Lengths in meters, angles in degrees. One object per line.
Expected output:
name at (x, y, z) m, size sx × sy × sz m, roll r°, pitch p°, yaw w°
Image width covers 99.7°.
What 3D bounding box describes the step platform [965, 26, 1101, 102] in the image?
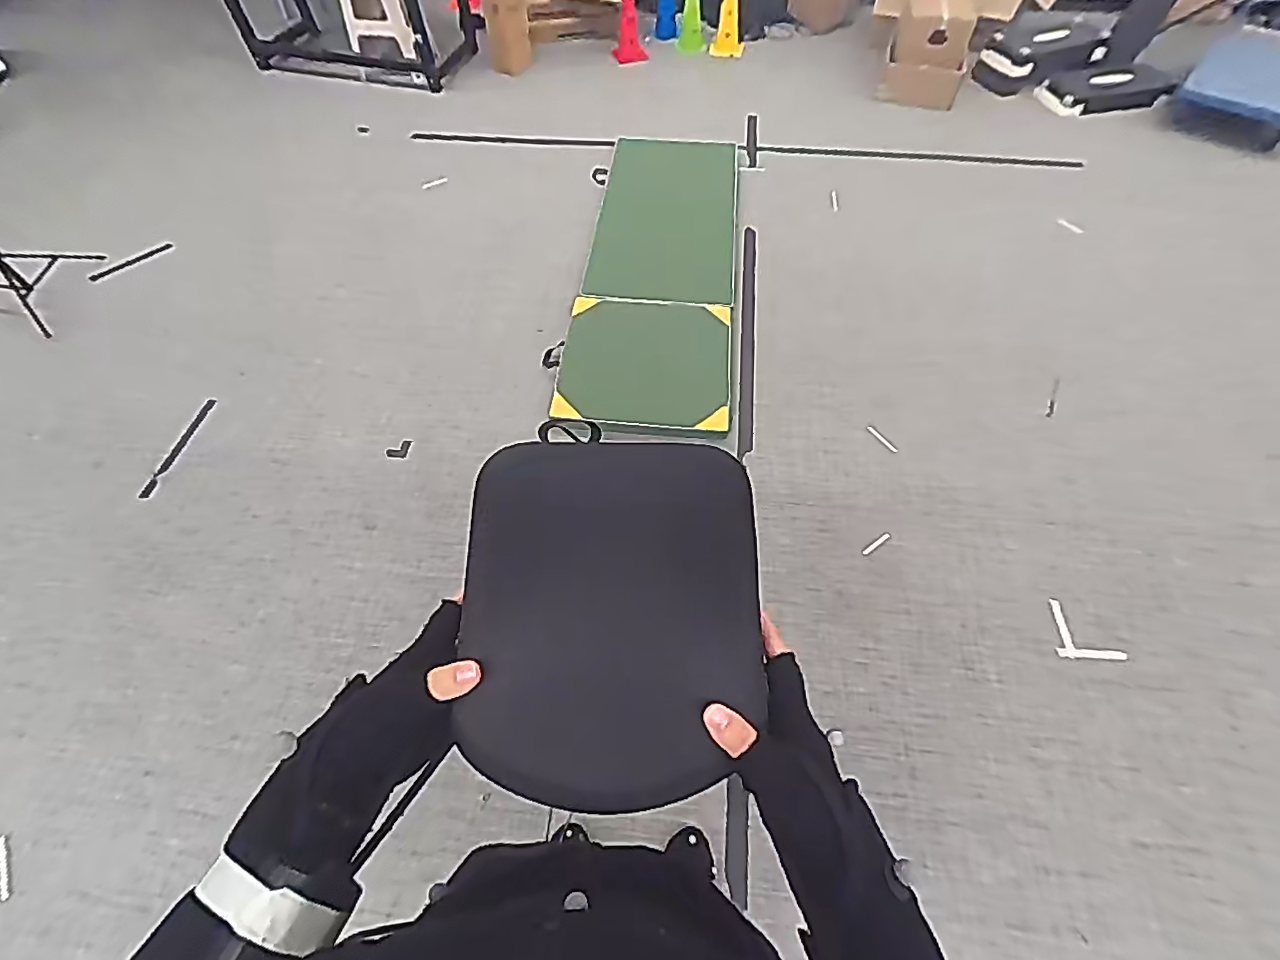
step platform at (2.224, -2.360, 3.059) m, size 0.684 × 0.204 × 0.286 m, roll -21°, pitch 61°, yaw -12°
